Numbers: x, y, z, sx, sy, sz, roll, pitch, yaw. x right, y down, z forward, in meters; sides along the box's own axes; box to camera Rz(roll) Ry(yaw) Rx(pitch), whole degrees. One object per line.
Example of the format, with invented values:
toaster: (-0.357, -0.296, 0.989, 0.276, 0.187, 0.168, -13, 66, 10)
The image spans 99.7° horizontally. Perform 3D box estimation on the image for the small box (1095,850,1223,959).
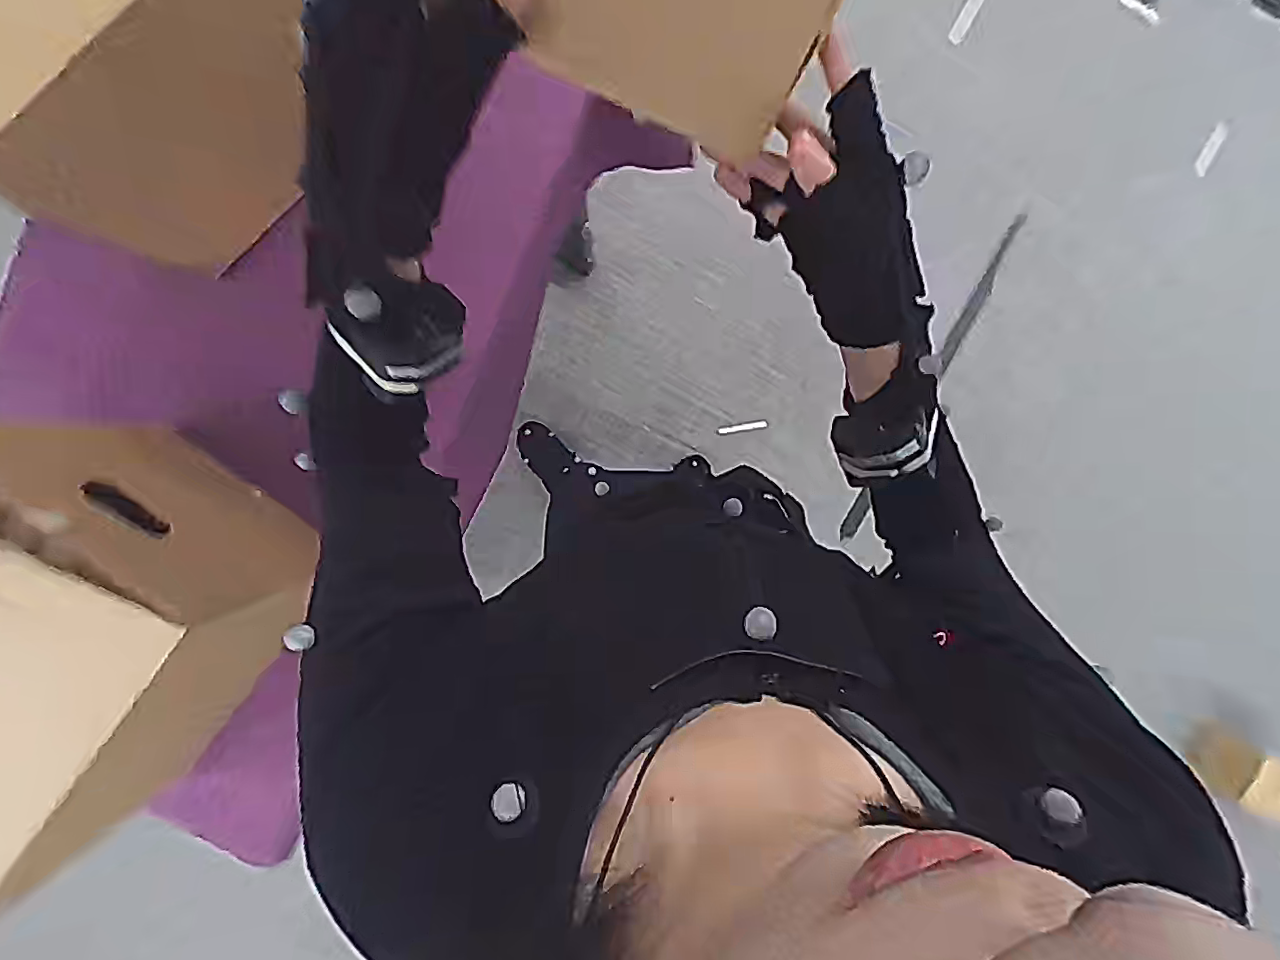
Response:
small box: (1.498, 1.229, 1.575, 0.179, 0.176, 0.168, 41, 91, -3)

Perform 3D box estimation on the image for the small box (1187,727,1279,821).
small box: (1.774, 0.851, 1.565, 0.179, 0.176, 0.168, 25, 92, -3)
